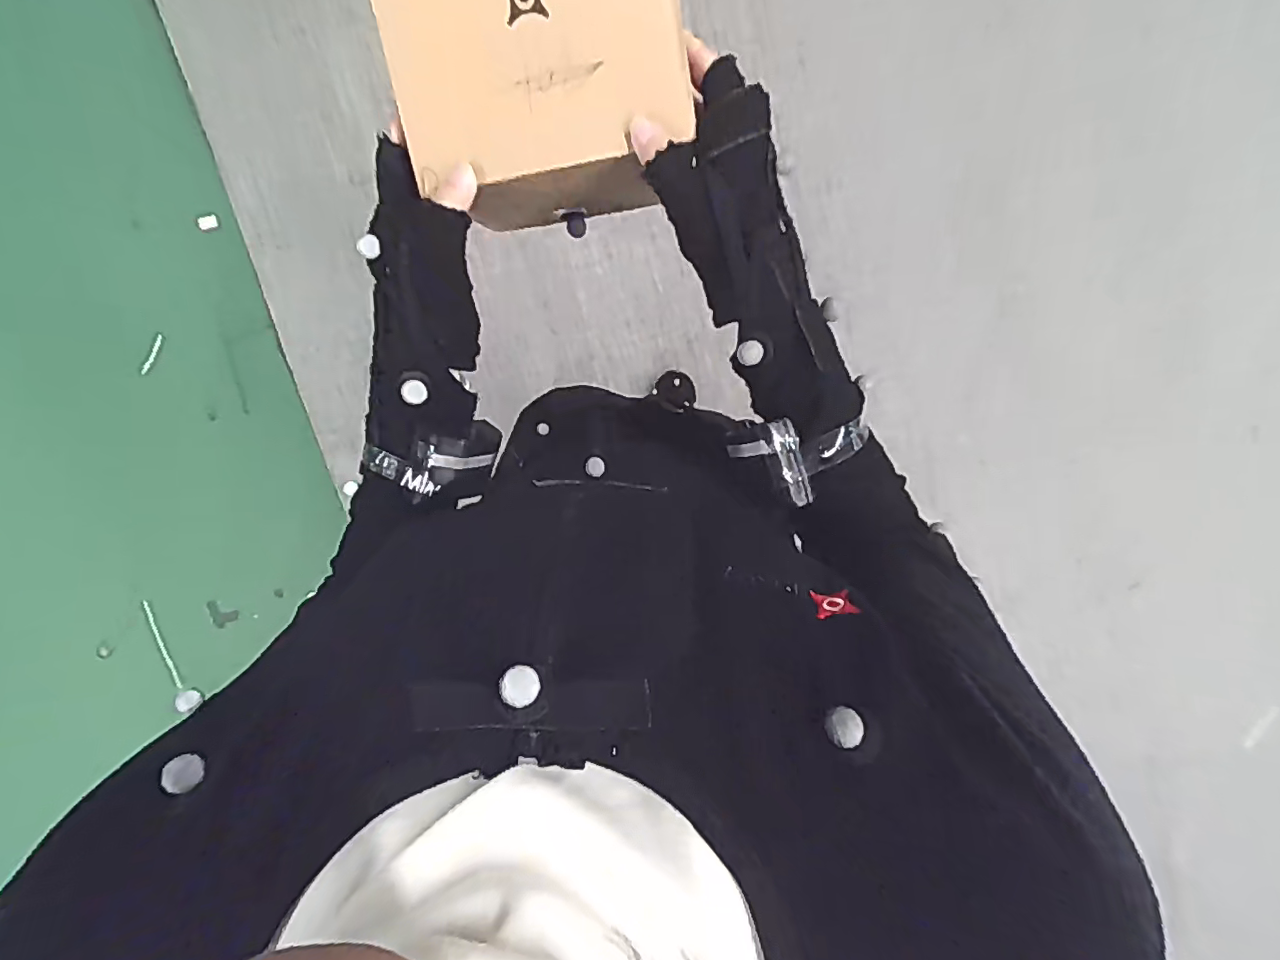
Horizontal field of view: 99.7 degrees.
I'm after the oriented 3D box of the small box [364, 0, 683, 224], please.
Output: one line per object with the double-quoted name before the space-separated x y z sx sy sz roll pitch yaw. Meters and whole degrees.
"small box" -0.064 -0.289 0.361 0.168 0.176 0.179 -7 107 6
